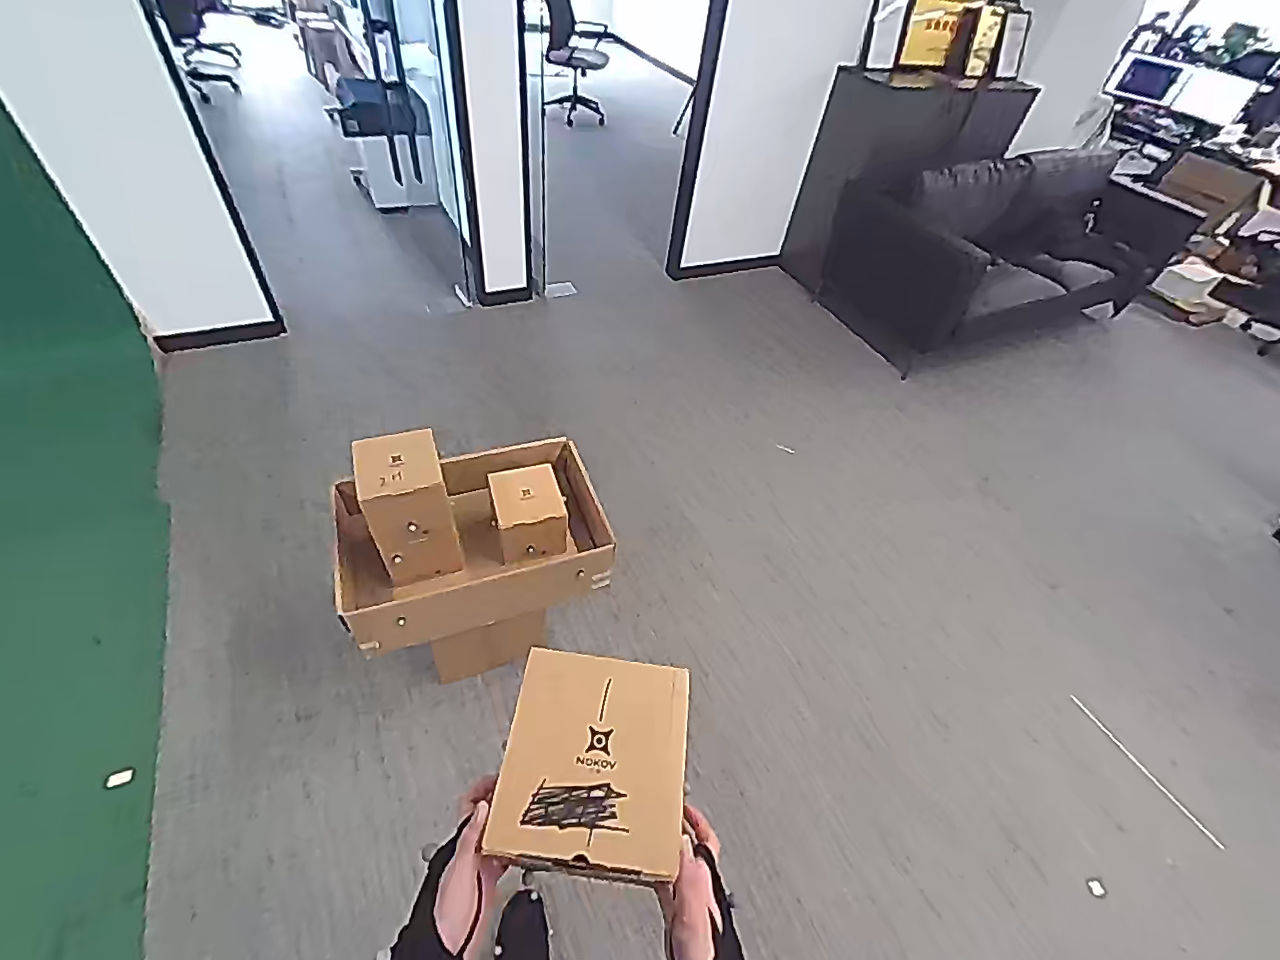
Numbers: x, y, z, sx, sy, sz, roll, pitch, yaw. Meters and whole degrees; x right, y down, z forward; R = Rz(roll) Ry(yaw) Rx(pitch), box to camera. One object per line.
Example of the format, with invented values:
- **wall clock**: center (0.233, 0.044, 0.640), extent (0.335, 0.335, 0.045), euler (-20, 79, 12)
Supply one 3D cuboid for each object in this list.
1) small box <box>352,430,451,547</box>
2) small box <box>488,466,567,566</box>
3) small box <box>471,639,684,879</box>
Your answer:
- **small box**: center (-0.523, 0.019, 1.190), extent (0.168, 0.176, 0.179), euler (-13, 51, -19)
- **small box**: center (-0.291, 0.092, 1.389), extent (0.168, 0.176, 0.179), euler (-11, 52, -19)
- **small box**: center (-0.053, 0.286, 0.548), extent (0.168, 0.176, 0.179), euler (8, 50, 0)
